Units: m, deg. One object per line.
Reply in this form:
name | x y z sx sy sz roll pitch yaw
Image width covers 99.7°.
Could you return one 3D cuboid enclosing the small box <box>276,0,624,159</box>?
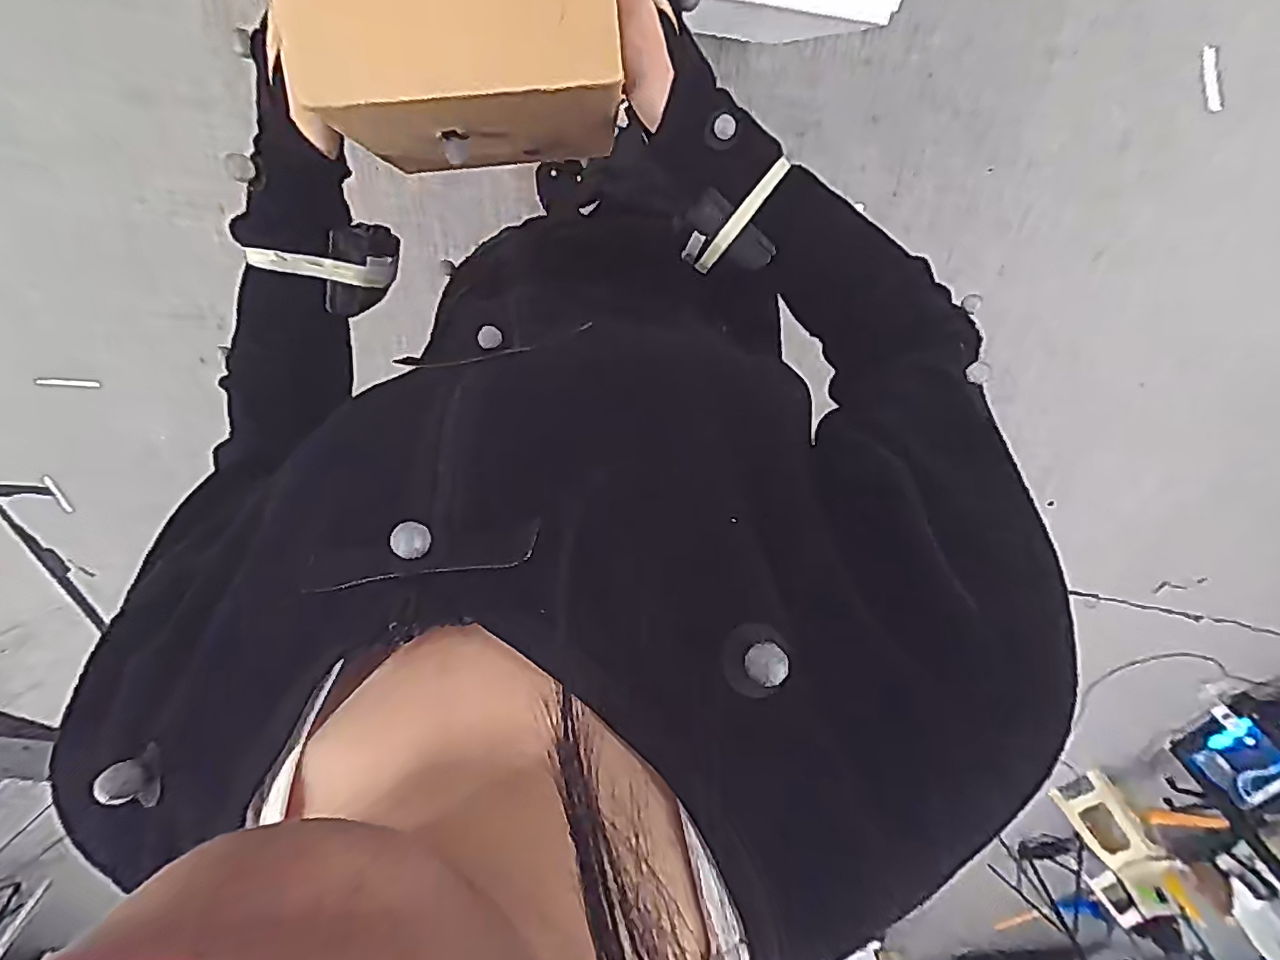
small box | -0.100 -0.305 0.318 0.168 0.176 0.179 -7 109 -3
